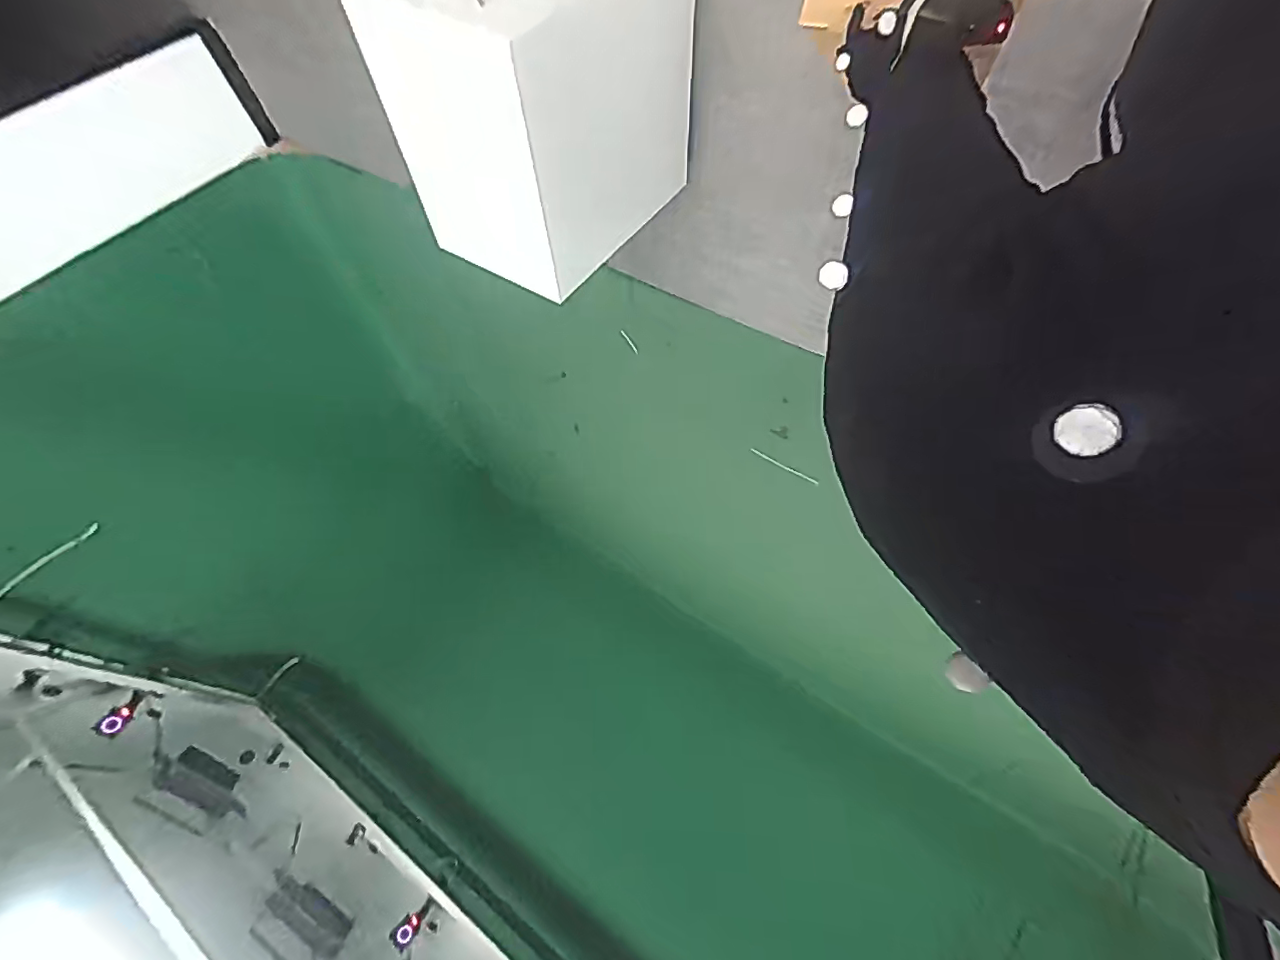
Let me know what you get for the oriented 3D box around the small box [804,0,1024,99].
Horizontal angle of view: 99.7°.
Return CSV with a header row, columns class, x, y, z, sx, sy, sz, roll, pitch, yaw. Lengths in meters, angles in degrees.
class,x,y,z,sx,sy,sz,roll,pitch,yaw
small box,0.299,-0.520,0.546,0.168,0.179,0.176,31,122,25
